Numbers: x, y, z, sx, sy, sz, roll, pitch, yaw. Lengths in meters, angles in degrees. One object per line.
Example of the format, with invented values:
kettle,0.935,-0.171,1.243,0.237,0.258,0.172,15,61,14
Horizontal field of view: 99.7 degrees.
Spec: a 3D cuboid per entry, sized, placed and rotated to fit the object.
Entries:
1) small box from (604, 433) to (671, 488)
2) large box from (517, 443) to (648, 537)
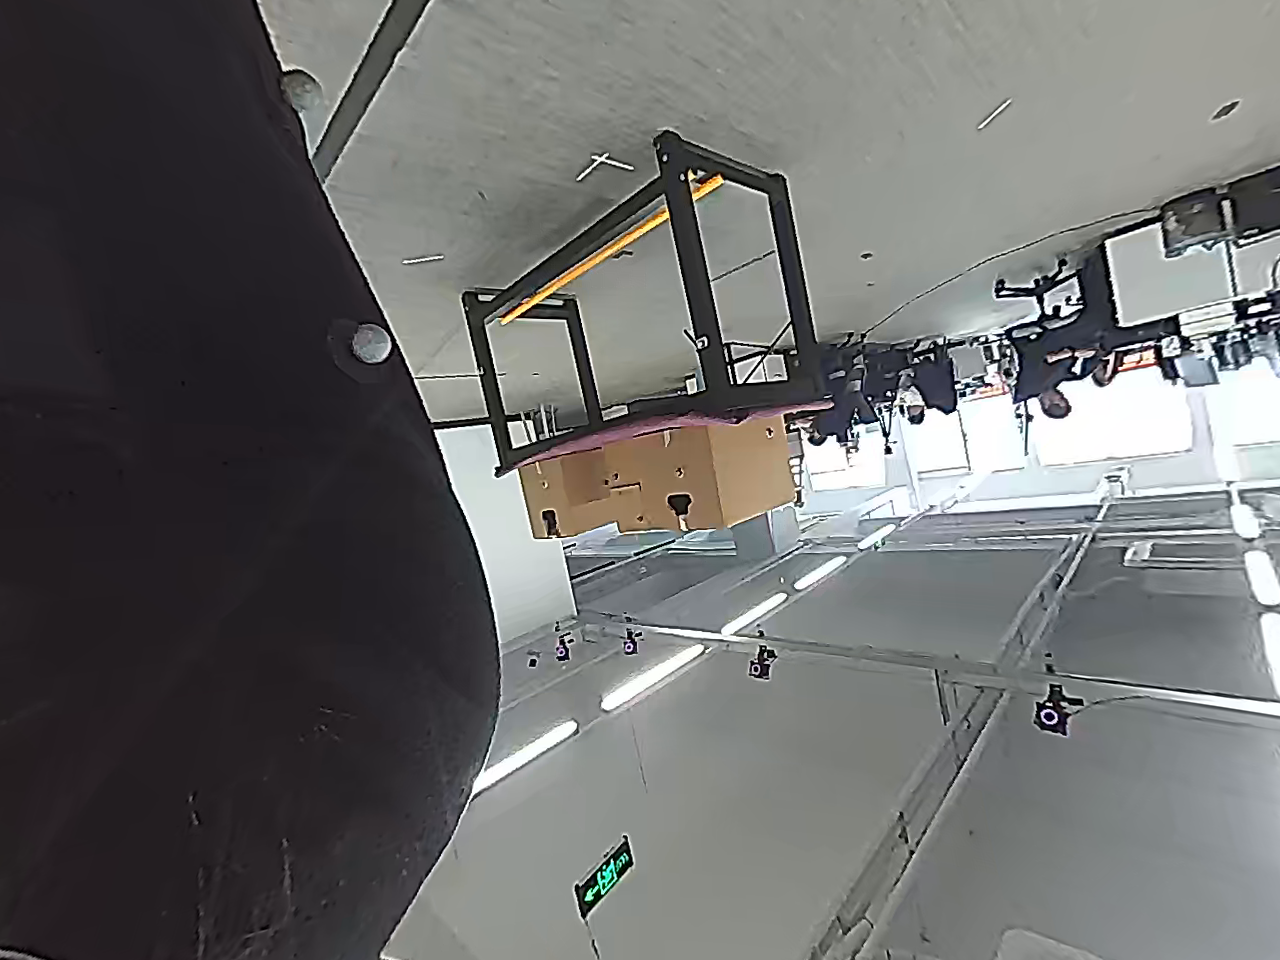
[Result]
small box,-0.015,-0.075,1.975,0.168,0.176,0.179,-15,-176,-43
large box,-0.240,0.030,2.251,0.408,0.320,0.320,-16,-175,-44
